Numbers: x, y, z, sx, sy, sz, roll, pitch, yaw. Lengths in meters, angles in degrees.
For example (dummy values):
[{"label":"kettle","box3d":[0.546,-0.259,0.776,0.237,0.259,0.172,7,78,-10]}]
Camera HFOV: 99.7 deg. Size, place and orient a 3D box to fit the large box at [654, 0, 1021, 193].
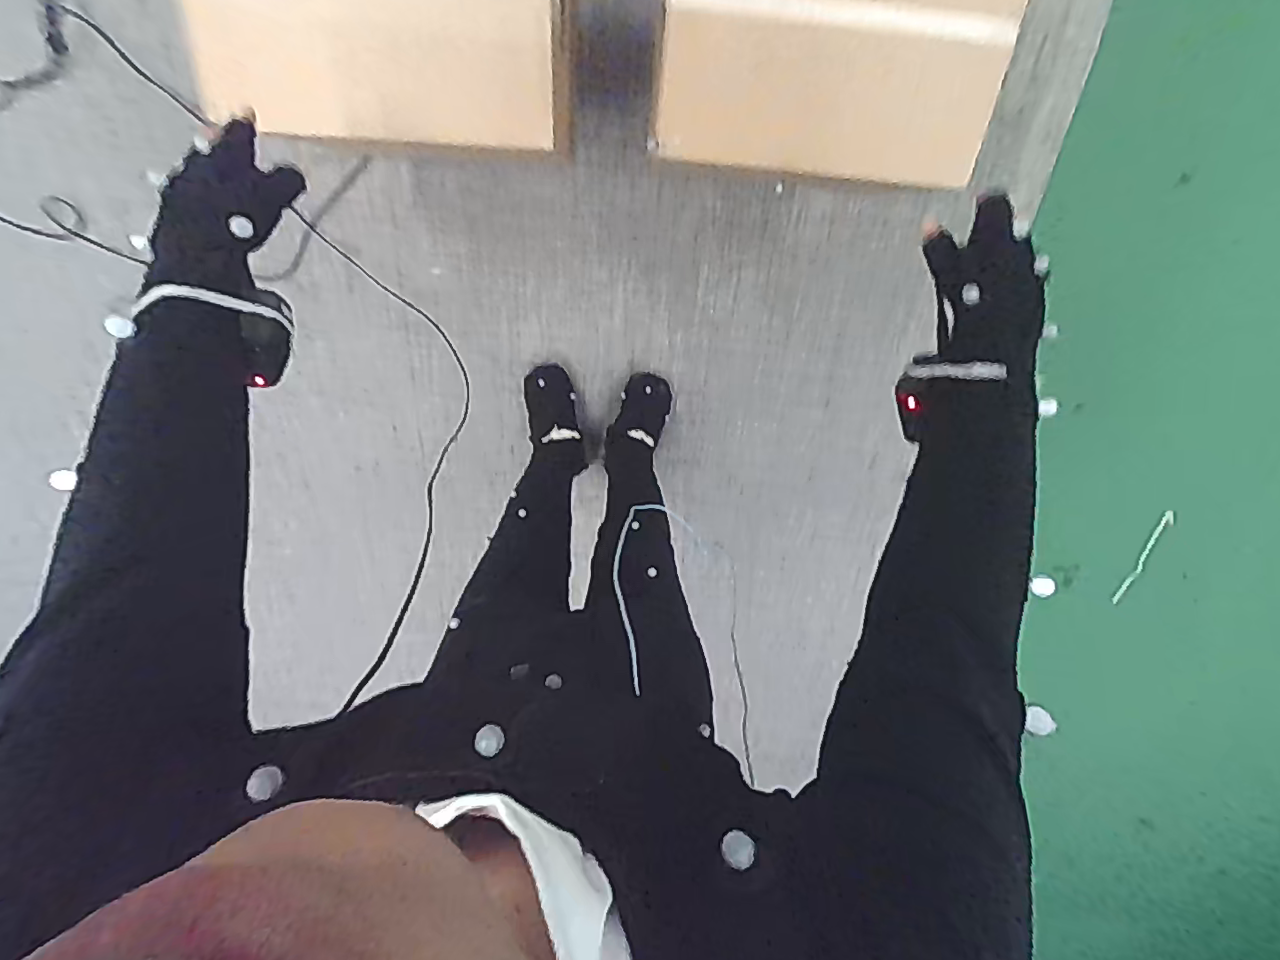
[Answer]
[{"label":"large box","box3d":[0.236,-0.596,0.762,0.408,0.320,0.320,5,116,-3]}]
